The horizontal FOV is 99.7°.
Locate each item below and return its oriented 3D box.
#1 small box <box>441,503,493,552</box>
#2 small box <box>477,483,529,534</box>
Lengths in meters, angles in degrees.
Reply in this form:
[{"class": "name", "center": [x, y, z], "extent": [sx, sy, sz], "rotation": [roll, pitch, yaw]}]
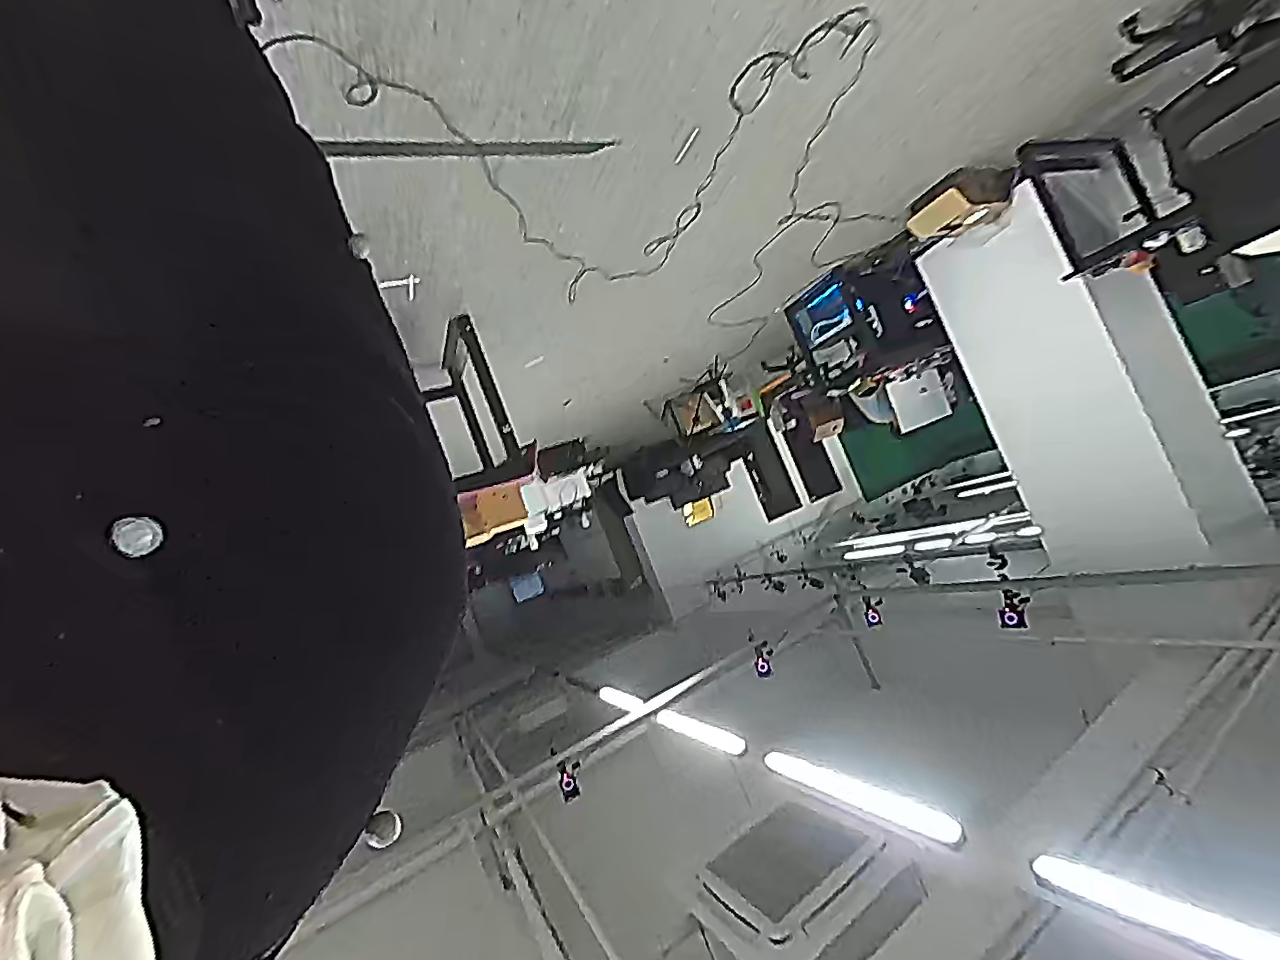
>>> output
[{"class": "small box", "center": [-0.794, 0.210, 2.468], "extent": [0.168, 0.176, 0.179], "rotation": [-19, 175, -33]}, {"class": "small box", "center": [-0.595, 0.121, 2.323], "extent": [0.168, 0.176, 0.179], "rotation": [-18, 174, -23]}]
